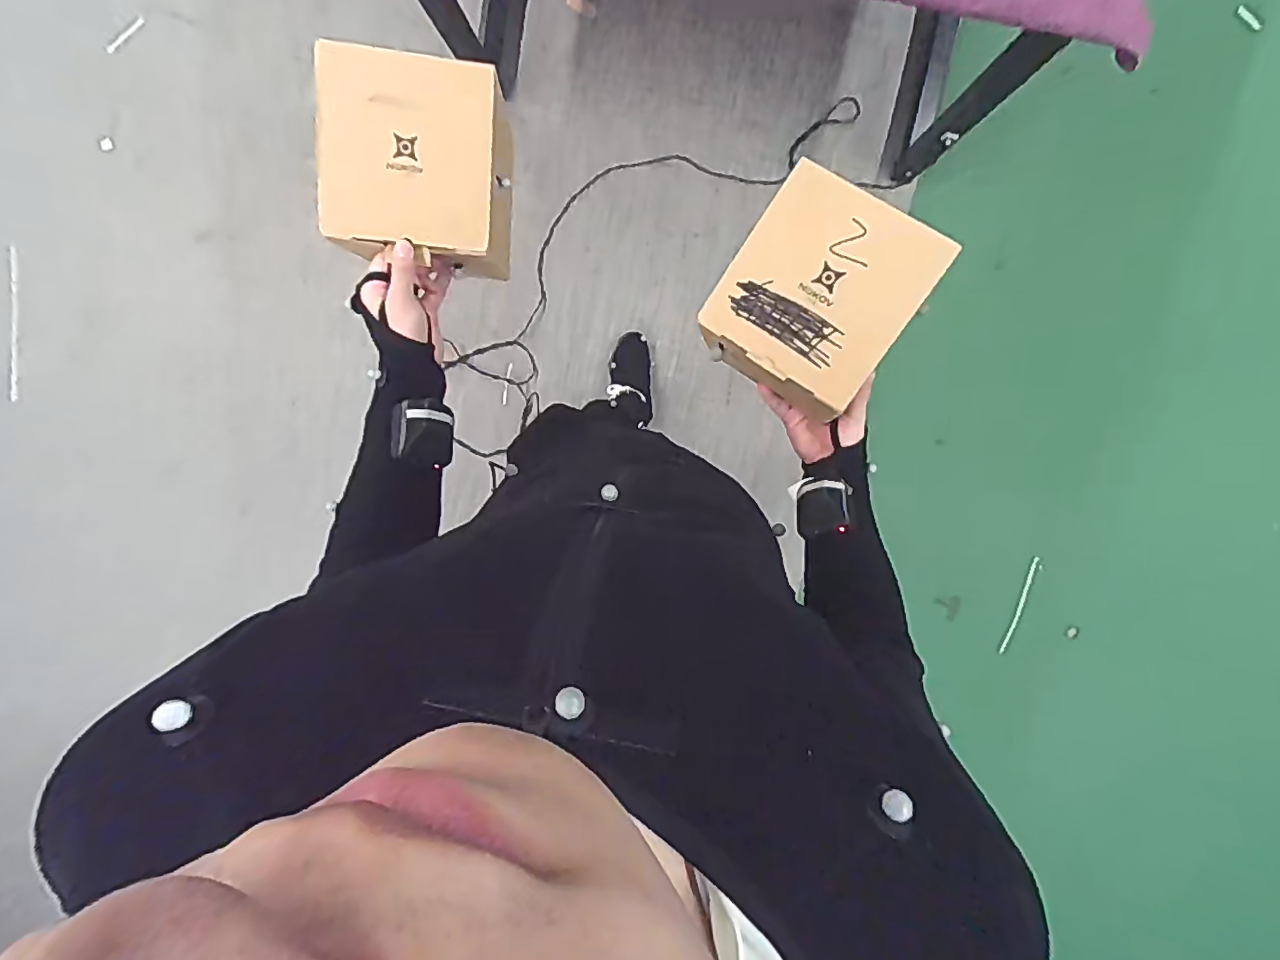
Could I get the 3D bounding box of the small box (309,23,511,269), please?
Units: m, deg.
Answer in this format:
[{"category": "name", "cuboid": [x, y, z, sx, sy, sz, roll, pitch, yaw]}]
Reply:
[{"category": "small box", "cuboid": [-0.239, -0.344, 0.598, 0.168, 0.176, 0.179, 4, 100, -7]}]
